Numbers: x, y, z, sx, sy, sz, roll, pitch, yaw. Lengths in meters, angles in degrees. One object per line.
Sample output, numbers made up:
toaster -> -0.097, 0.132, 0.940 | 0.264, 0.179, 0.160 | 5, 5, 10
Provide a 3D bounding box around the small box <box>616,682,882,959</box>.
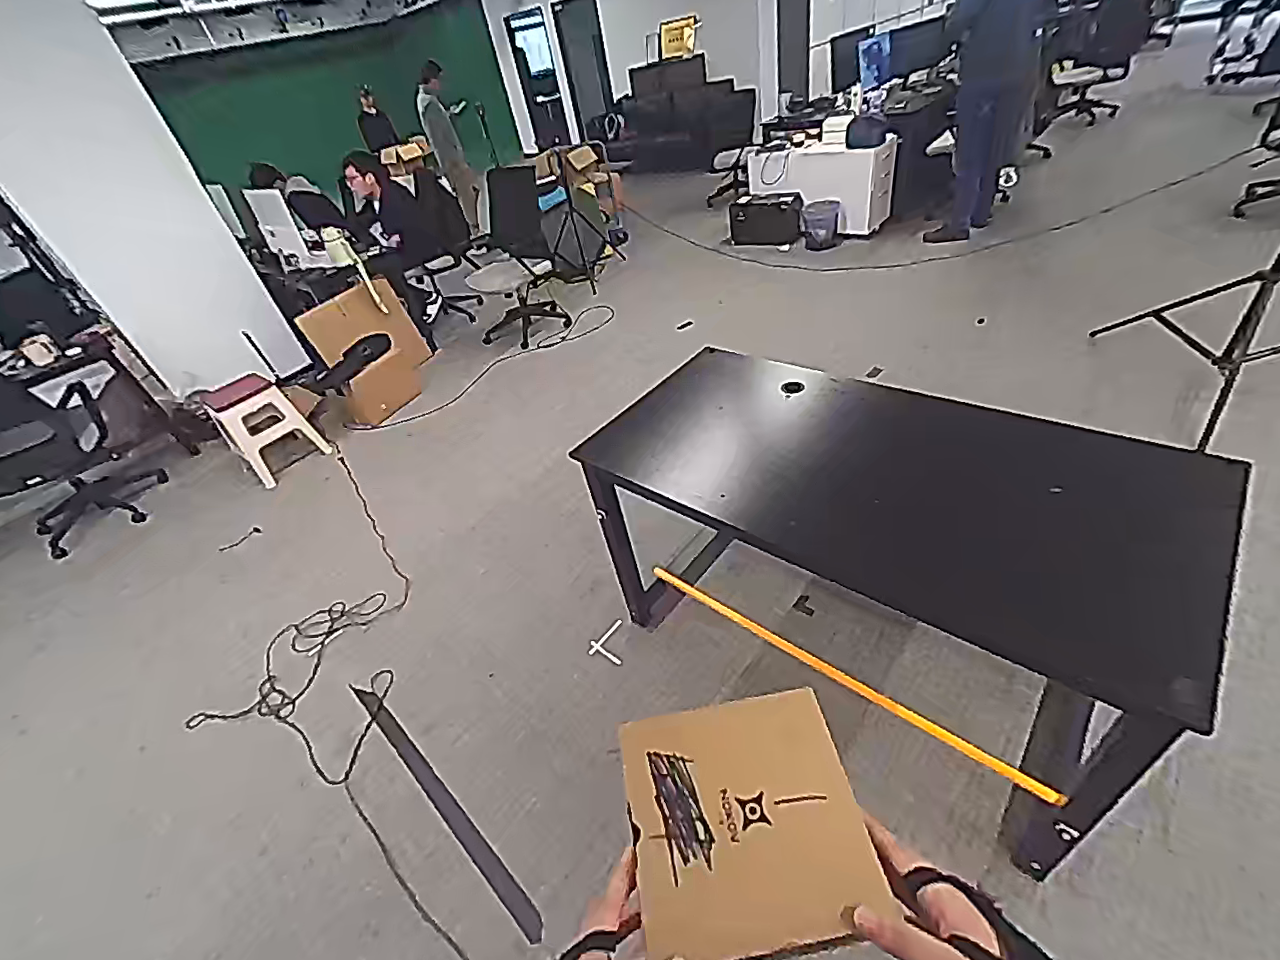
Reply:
small box -> 0.083, 0.308, 0.483 | 0.179, 0.176, 0.168 | -10, 46, -1
